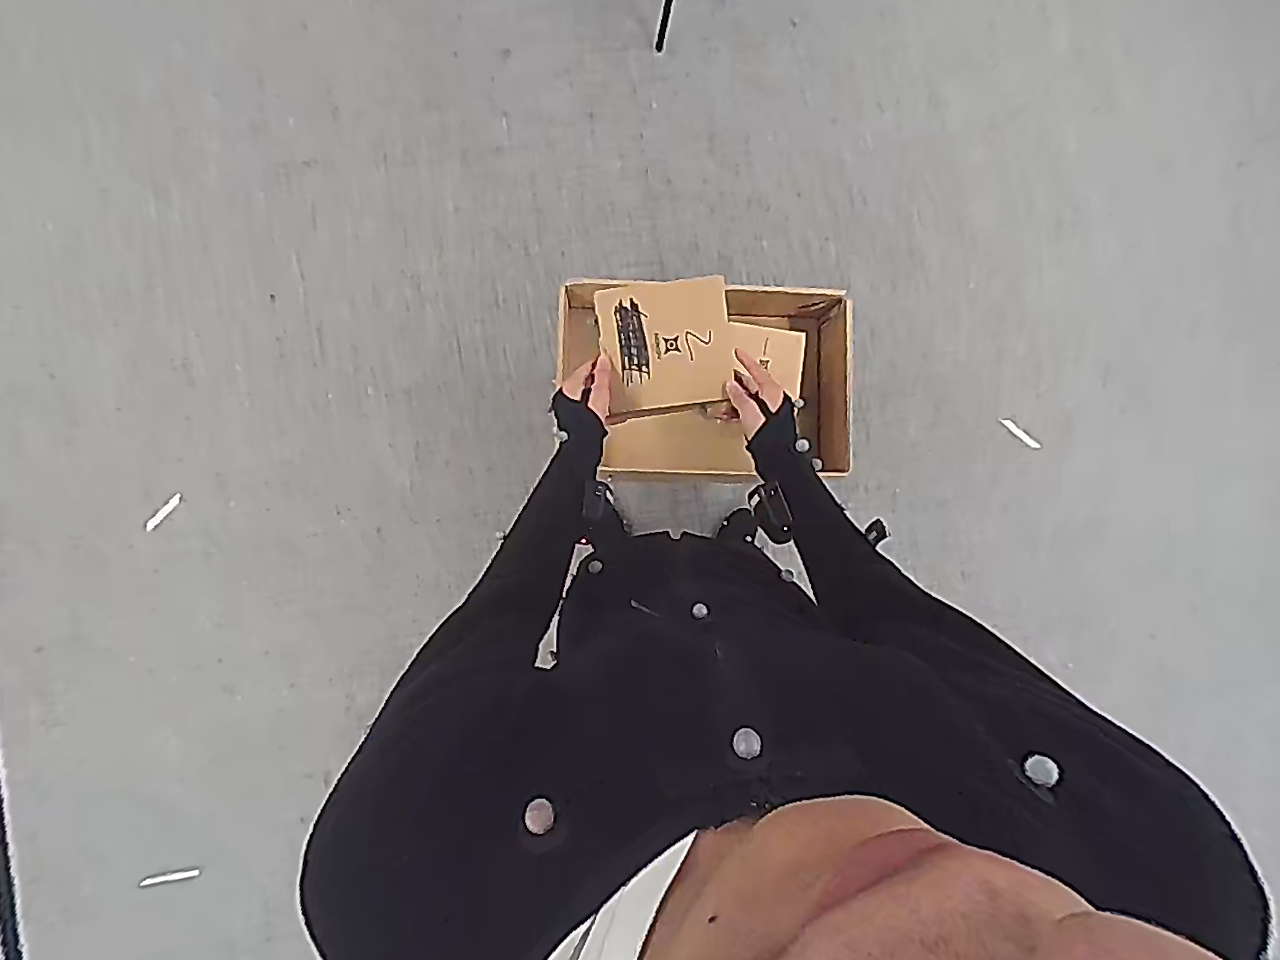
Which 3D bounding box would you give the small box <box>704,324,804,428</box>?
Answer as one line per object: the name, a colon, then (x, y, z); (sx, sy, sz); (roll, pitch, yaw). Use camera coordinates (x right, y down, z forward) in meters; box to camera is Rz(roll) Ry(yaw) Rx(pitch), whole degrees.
small box: (0.239, -0.216, 1.175); (0.168, 0.176, 0.179); (8, 86, -4)
